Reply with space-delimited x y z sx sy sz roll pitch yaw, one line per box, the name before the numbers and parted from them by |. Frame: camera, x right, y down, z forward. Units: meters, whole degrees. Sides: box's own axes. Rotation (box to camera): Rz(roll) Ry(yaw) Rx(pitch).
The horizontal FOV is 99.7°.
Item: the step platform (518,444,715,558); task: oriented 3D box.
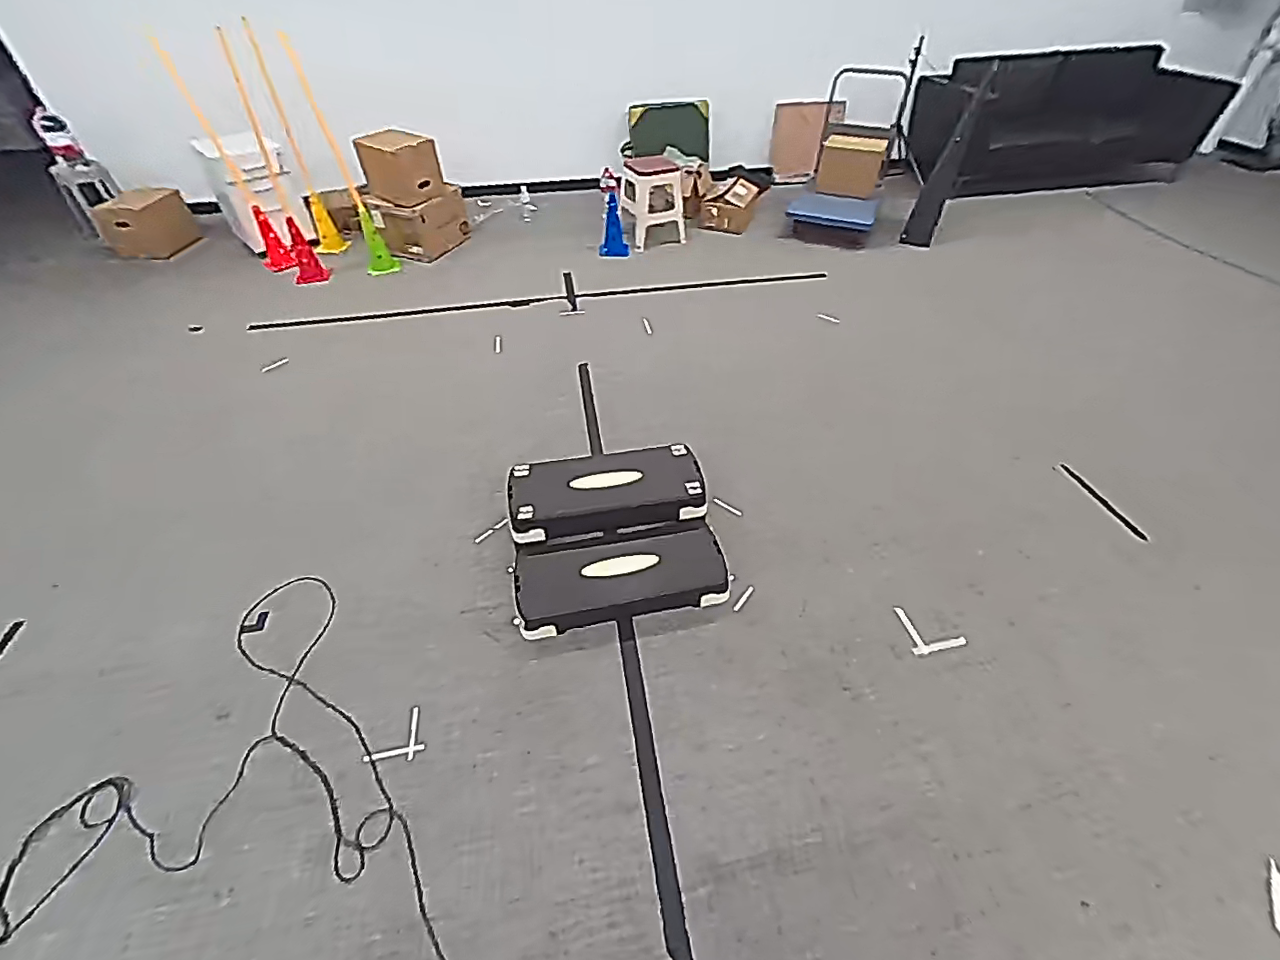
step platform | -0.083 0.063 1.919 0.684 0.204 0.286 -8 45 -9
